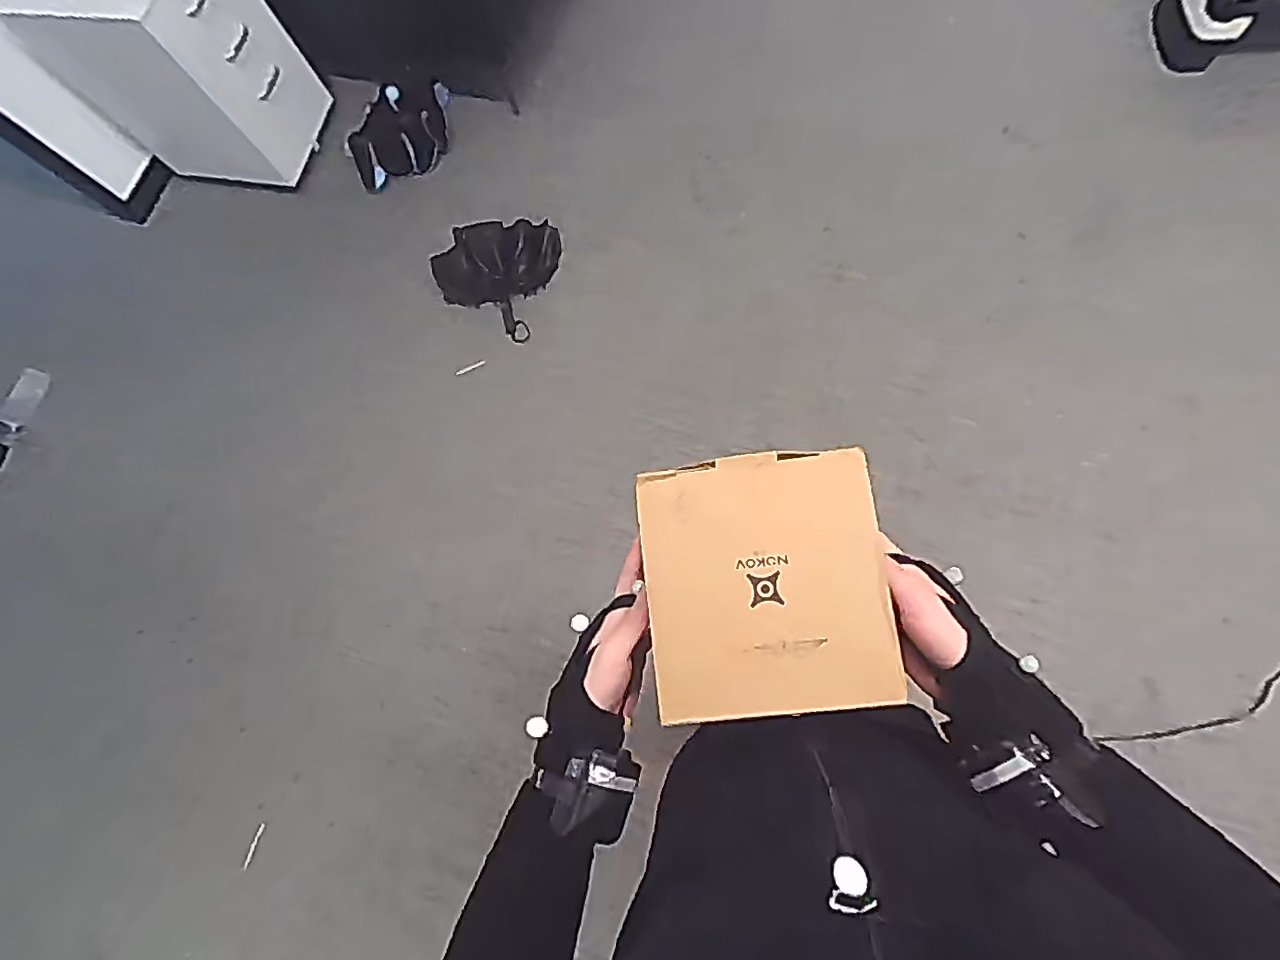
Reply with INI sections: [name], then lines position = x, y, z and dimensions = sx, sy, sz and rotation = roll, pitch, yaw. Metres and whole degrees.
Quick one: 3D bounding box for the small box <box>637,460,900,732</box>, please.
[small box]
position = 0.091, 0.090, 0.452
dimensions = 0.168, 0.176, 0.179
rotation = -6, 82, 5
